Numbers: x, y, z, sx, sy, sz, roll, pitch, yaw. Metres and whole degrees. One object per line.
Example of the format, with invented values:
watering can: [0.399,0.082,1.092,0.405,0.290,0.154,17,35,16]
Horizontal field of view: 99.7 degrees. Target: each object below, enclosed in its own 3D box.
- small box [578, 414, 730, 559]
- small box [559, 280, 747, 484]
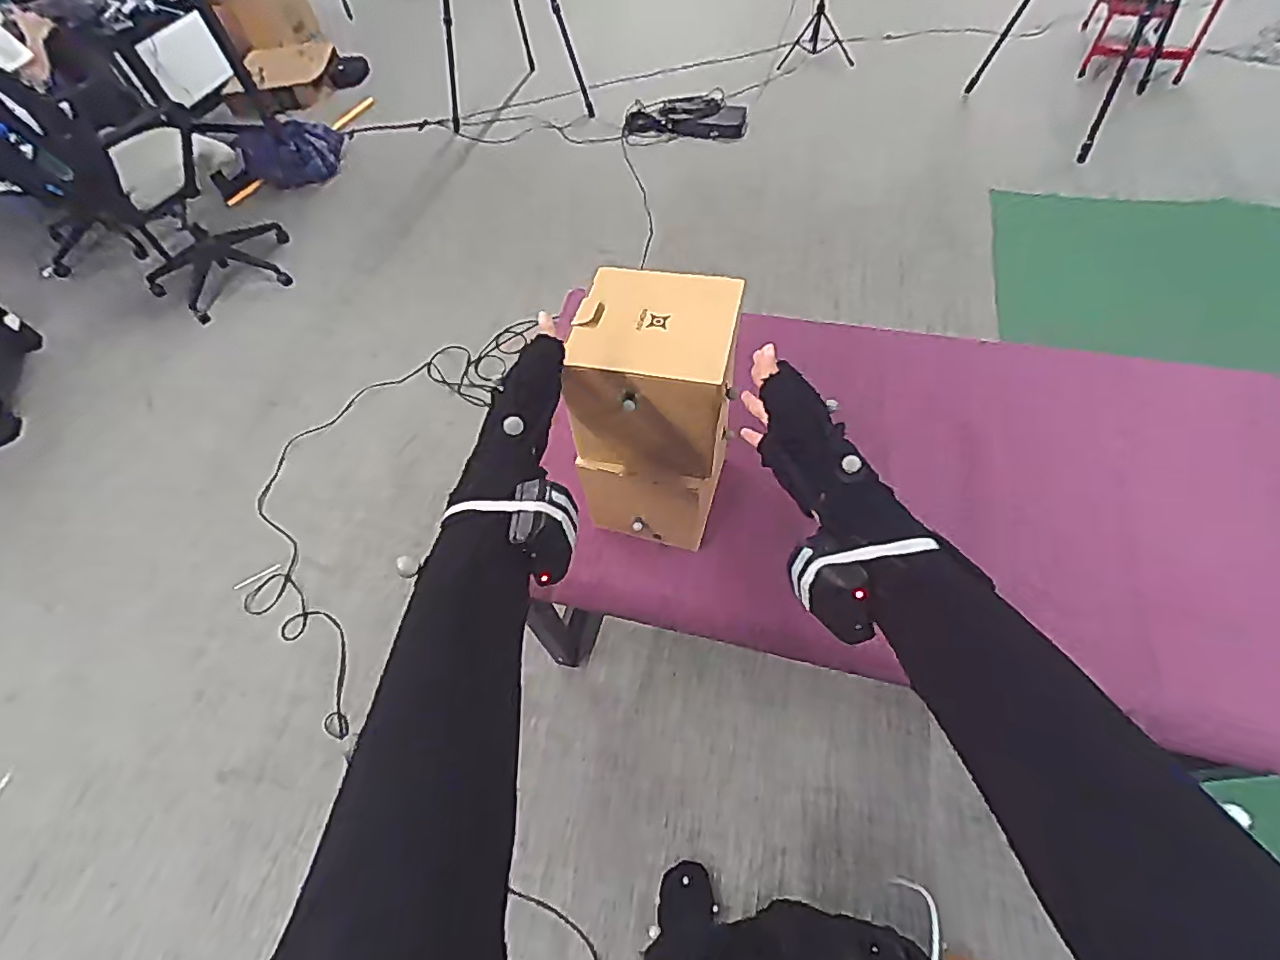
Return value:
small box: [0.025,-0.013,0.785,0.168,0.176,0.179,14,58,13]
small box: [0.023,-0.113,0.655,0.179,0.176,0.168,10,57,11]
